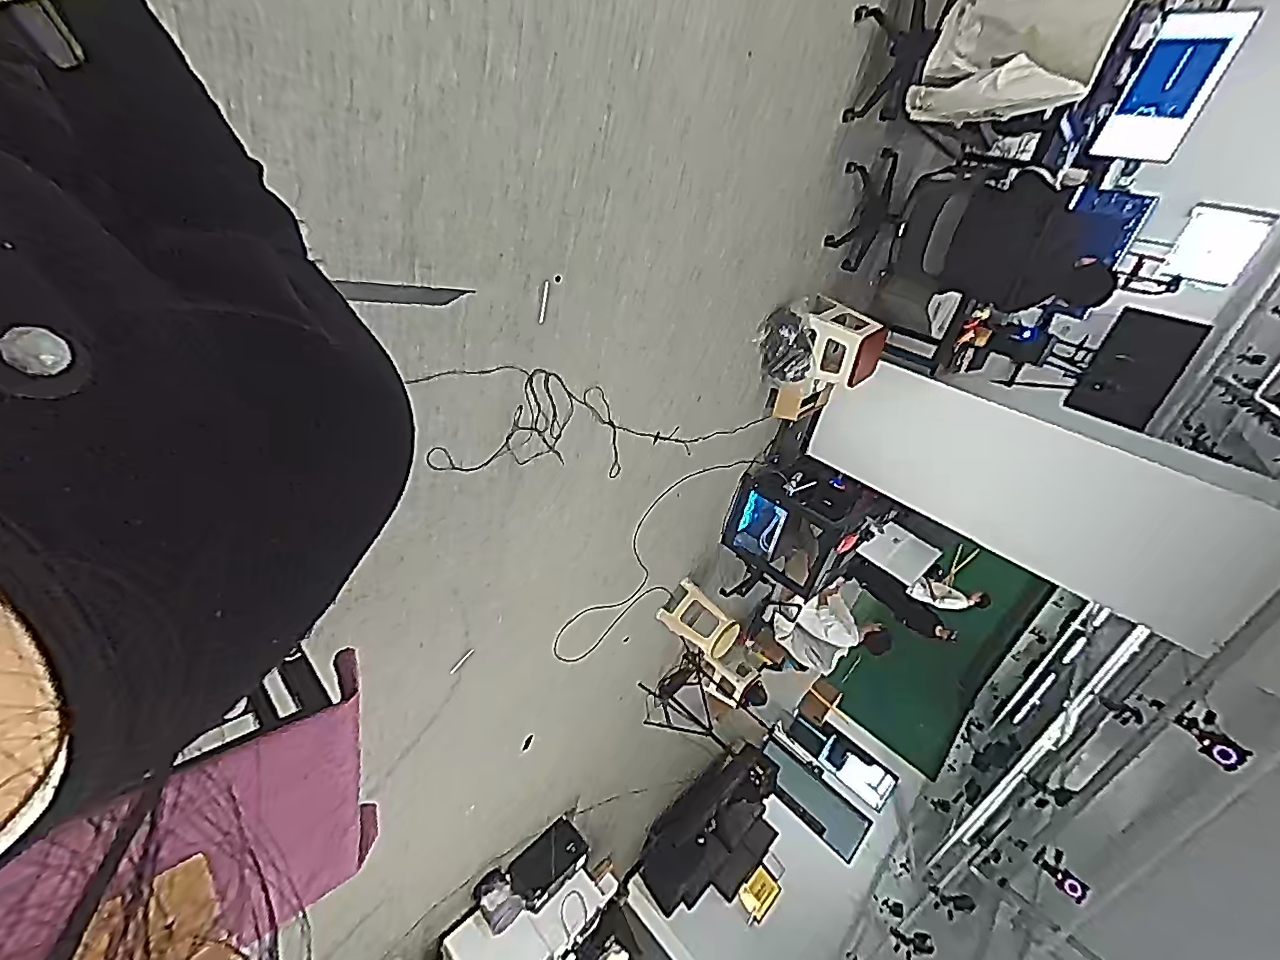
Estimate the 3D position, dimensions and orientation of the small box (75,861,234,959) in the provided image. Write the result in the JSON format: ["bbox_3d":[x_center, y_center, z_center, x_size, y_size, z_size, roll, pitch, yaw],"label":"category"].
[{"bbox_3d":[-0.794,0.784,0.894,0.168,0.176,0.179,-15,130,-46],"label":"small box"}]
